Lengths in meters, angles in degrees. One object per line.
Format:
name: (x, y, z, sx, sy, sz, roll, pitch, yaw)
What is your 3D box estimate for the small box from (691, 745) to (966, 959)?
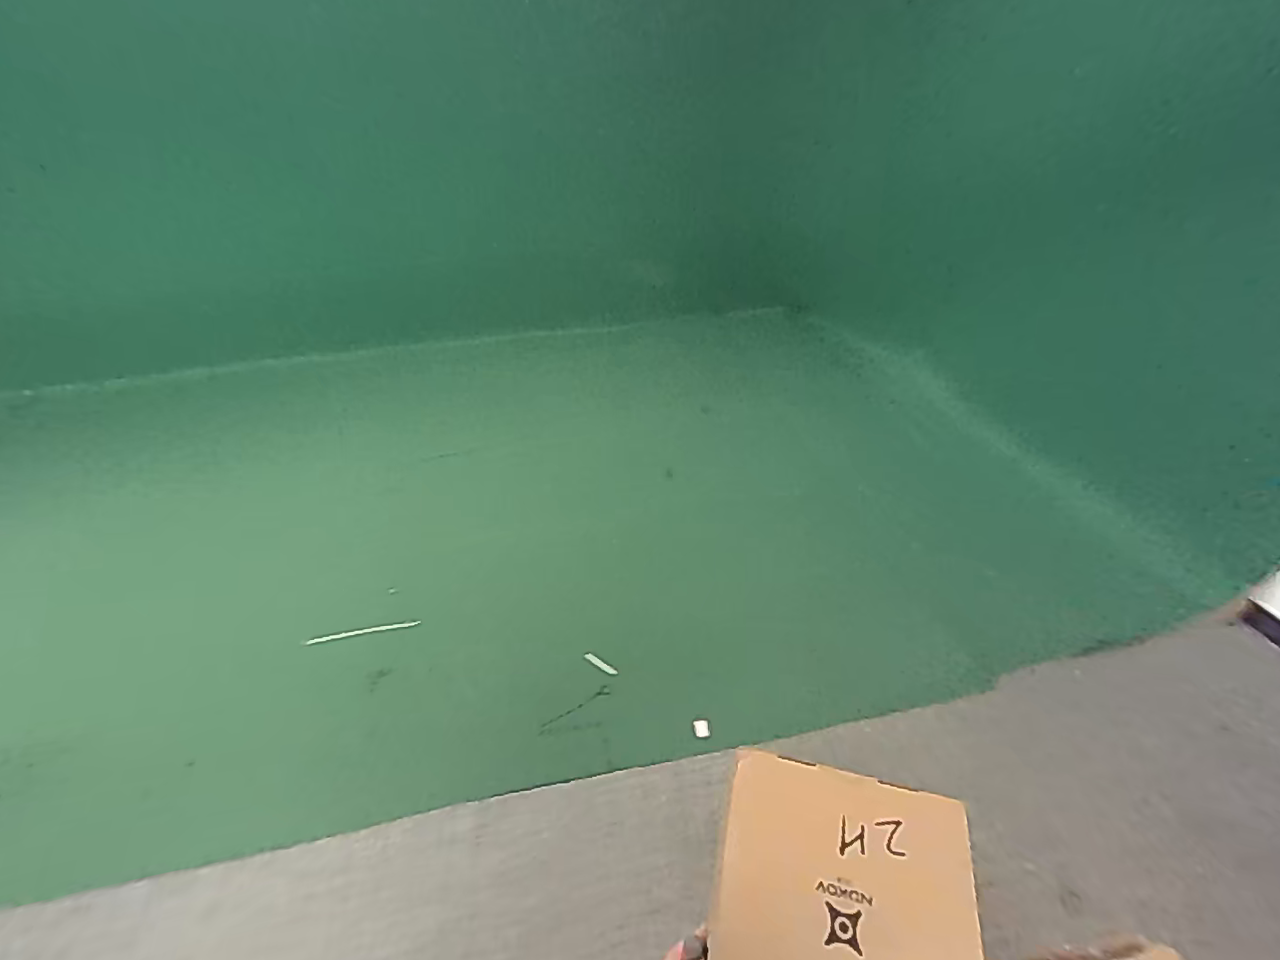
small box: (0.129, 0.336, 0.414, 0.168, 0.176, 0.179, 8, 49, 12)
